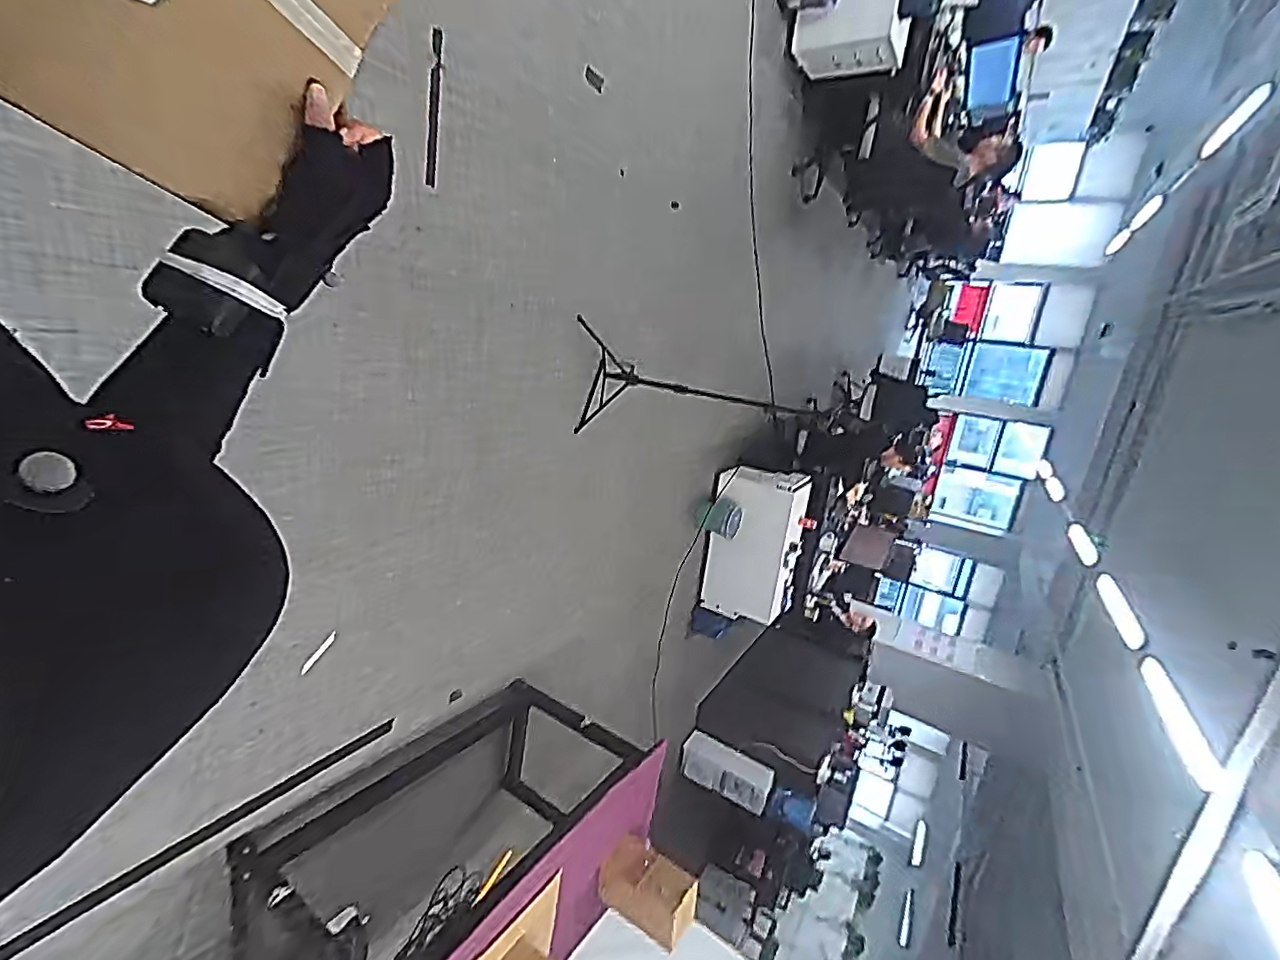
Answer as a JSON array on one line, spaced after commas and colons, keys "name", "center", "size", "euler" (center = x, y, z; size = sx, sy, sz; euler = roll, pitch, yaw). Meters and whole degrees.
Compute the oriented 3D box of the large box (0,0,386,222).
[{"name": "large box", "center": [-0.426, -0.450, 0.329], "size": [0.320, 0.320, 0.408], "euler": [-55, 151, 5]}]
